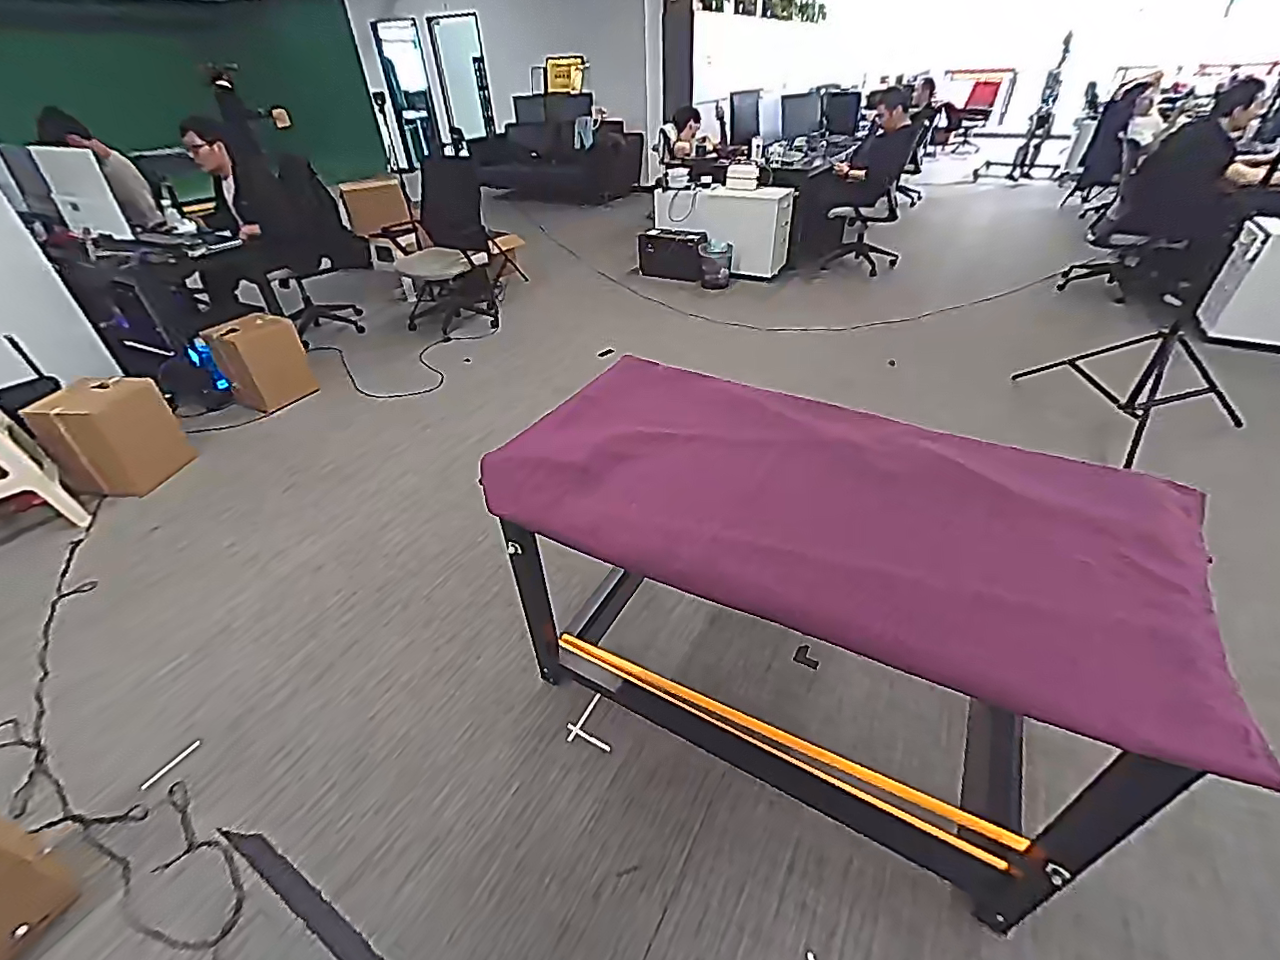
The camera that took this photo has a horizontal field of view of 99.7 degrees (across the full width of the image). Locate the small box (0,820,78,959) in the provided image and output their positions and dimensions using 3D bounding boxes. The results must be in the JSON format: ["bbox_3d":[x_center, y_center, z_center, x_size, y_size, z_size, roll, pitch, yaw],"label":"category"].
[{"bbox_3d":[-1.345,0.860,1.120,0.179,0.176,0.168,19,43,24],"label":"small box"}]

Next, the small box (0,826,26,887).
[{"bbox_3d":[-1.349,0.729,1.020,0.179,0.176,0.168,17,42,23],"label":"small box"}]
